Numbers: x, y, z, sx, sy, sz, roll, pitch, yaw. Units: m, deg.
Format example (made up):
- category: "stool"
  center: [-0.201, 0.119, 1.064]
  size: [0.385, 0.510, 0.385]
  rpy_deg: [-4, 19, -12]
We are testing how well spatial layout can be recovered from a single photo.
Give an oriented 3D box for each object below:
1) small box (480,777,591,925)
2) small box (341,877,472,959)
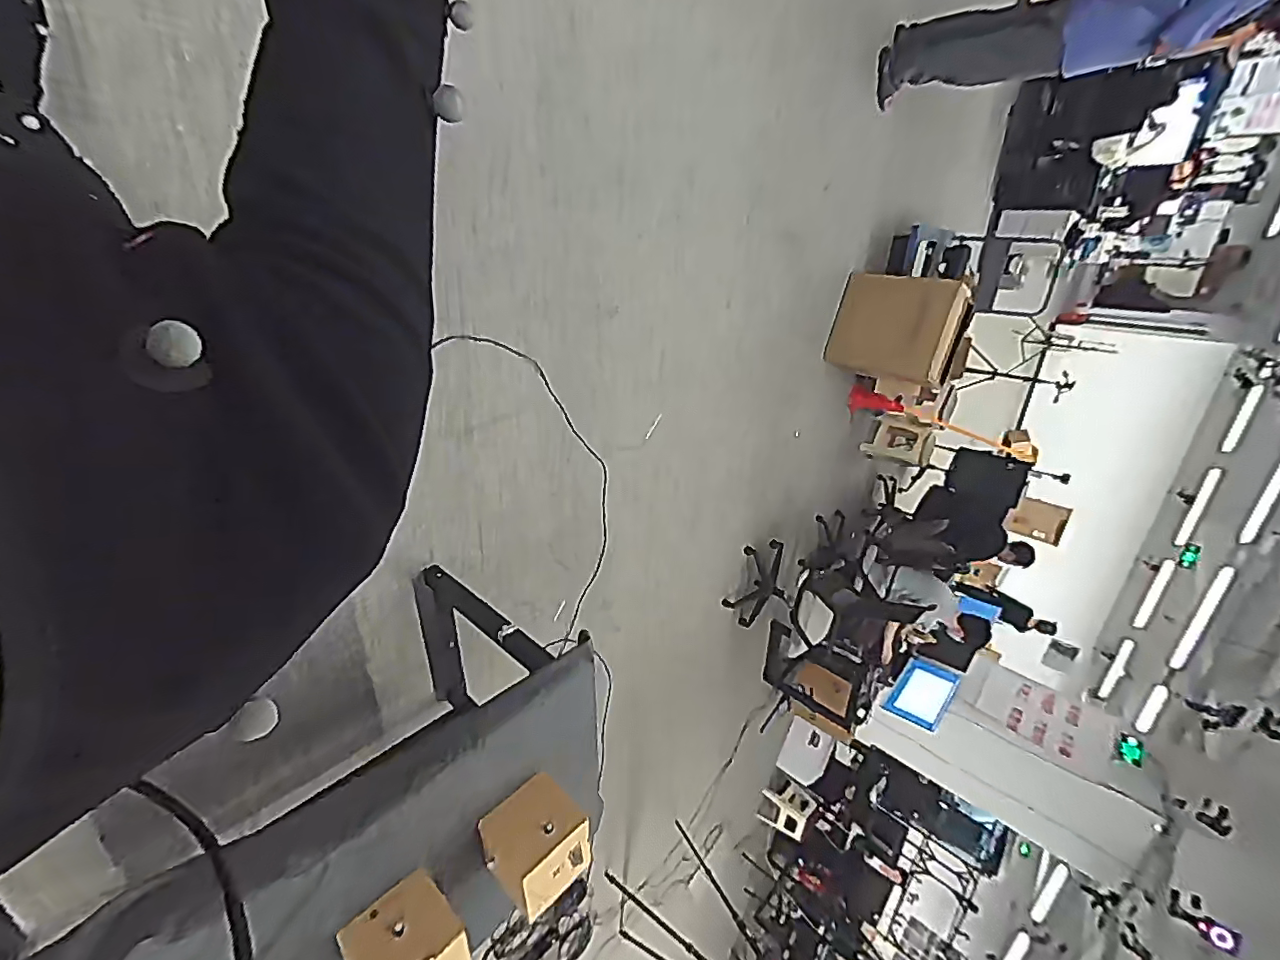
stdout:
- category: "small box"
  center: [-0.231, 0.813, 1.206]
  size: [0.179, 0.176, 0.168]
  rpy_deg: [-25, 125, -40]
- category: "small box"
  center: [-0.431, 0.896, 1.009]
  size: [0.168, 0.176, 0.179]
  rpy_deg: [-23, 124, -42]
